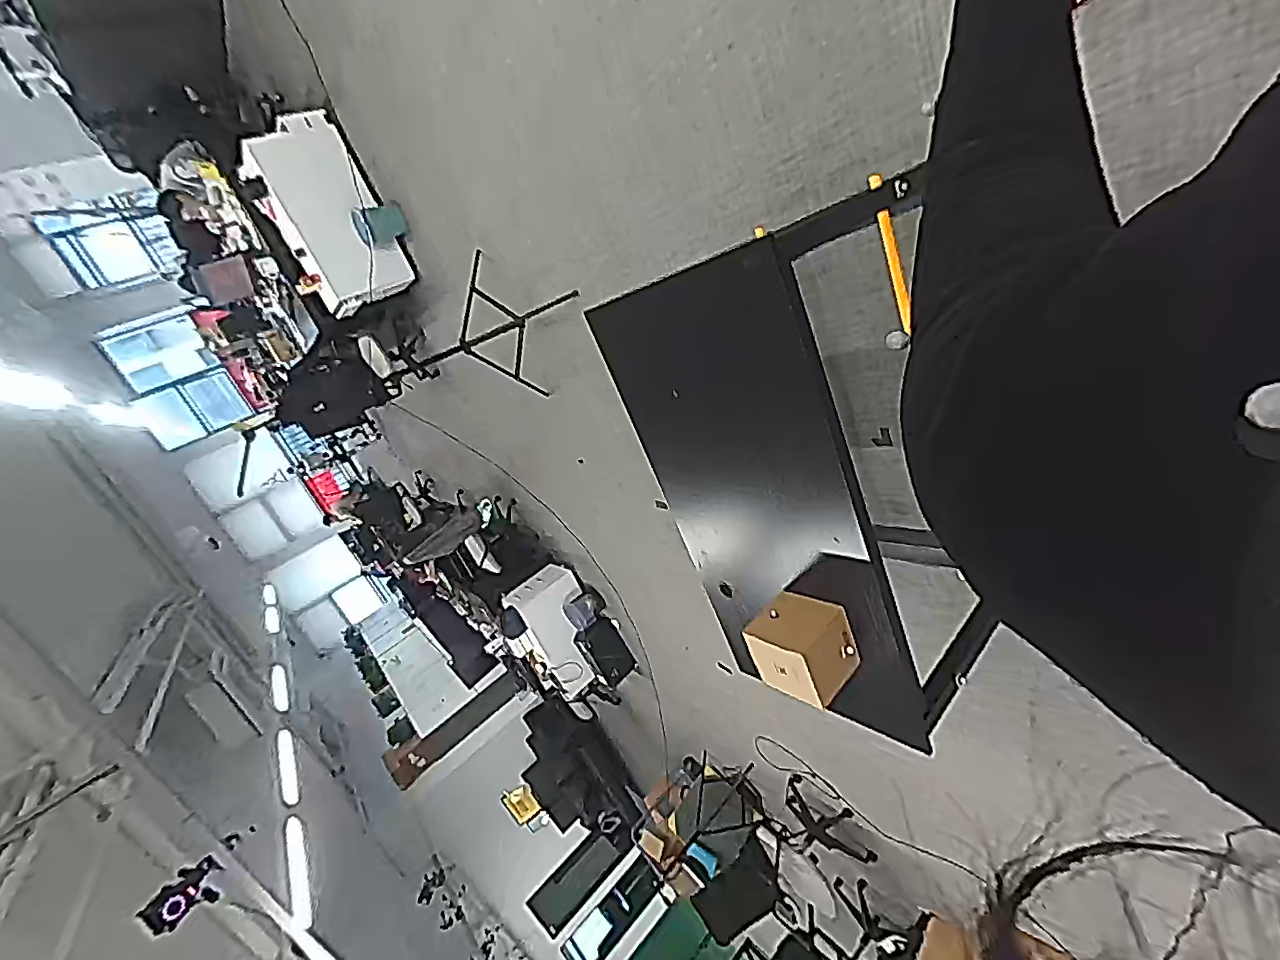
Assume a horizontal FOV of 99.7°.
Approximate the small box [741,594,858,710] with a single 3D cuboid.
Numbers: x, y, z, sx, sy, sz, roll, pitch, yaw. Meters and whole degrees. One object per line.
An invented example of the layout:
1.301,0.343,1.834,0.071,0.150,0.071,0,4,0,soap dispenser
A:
0.373,0.390,1.260,0.179,0.176,0.168,4,124,54,small box
